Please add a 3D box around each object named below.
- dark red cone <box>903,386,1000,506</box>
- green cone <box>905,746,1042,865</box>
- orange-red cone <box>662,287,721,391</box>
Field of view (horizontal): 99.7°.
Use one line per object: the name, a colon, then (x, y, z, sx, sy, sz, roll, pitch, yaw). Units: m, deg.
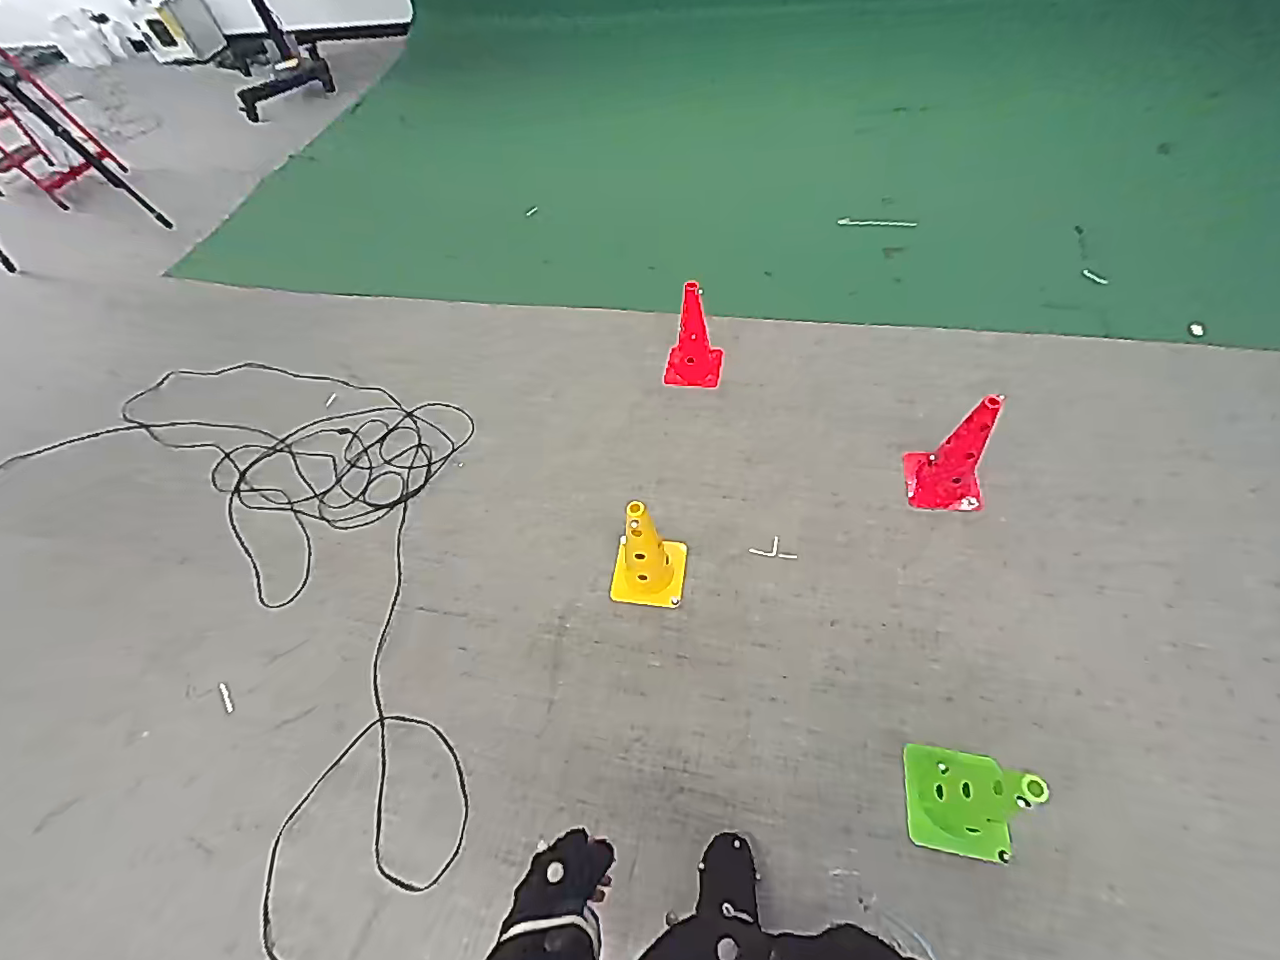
dark red cone: (0.871, -0.102, 1.457, 0.202, 0.394, 0.201, 2, 55, 9)
green cone: (0.669, 0.604, 1.036, 0.202, 0.368, 0.200, 5, 56, 12)
orange-red cone: (0.169, -0.497, 1.843, 0.198, 0.360, 0.199, 6, 58, 13)
